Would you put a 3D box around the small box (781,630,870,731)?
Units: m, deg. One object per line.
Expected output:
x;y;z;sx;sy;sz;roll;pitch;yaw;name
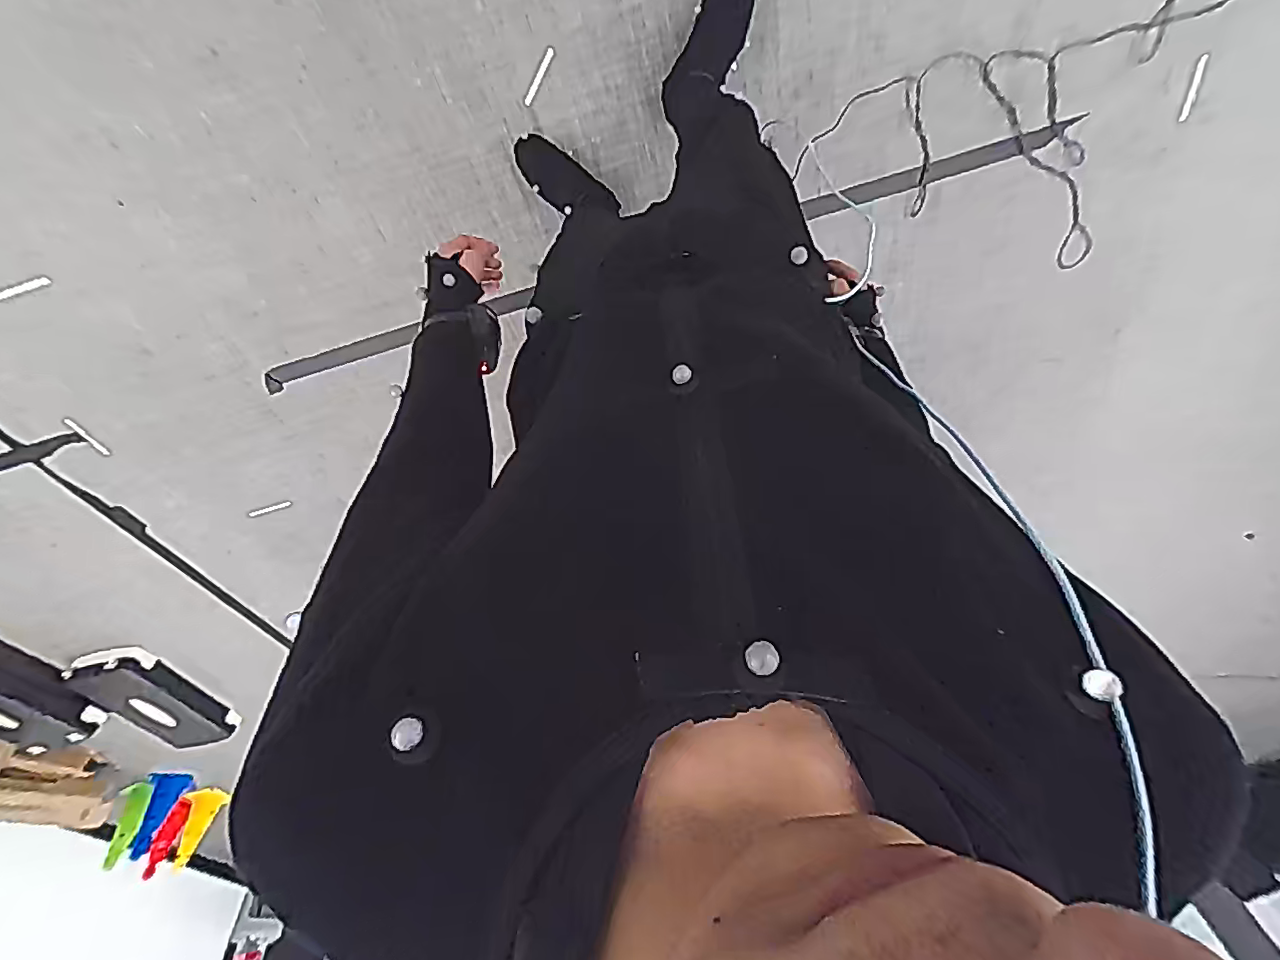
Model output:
0.464;0.497;1.364;0.168;0.176;0.179;-17;131;6;small box

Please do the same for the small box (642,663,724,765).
0.106;0.602;1.397;0.179;0.176;0.168;-14;130;2;small box
